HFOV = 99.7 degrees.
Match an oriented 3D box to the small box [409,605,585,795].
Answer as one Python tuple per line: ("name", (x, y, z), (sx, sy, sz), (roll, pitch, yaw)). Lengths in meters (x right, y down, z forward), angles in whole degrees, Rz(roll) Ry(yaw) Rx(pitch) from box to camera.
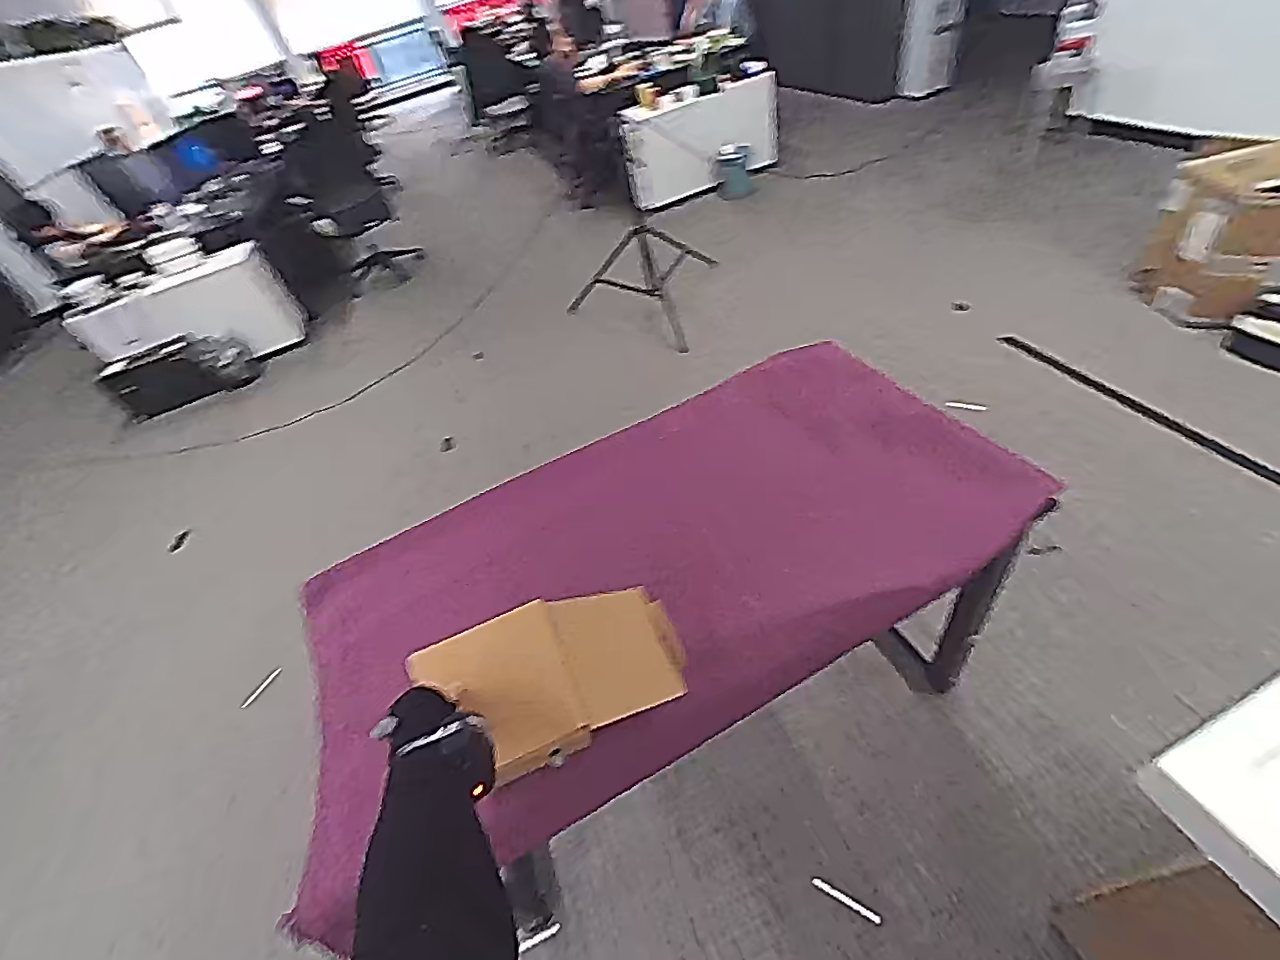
("small box", (-0.179, 0.293, 0.716), (0.179, 0.176, 0.168), (-19, 60, -14))
